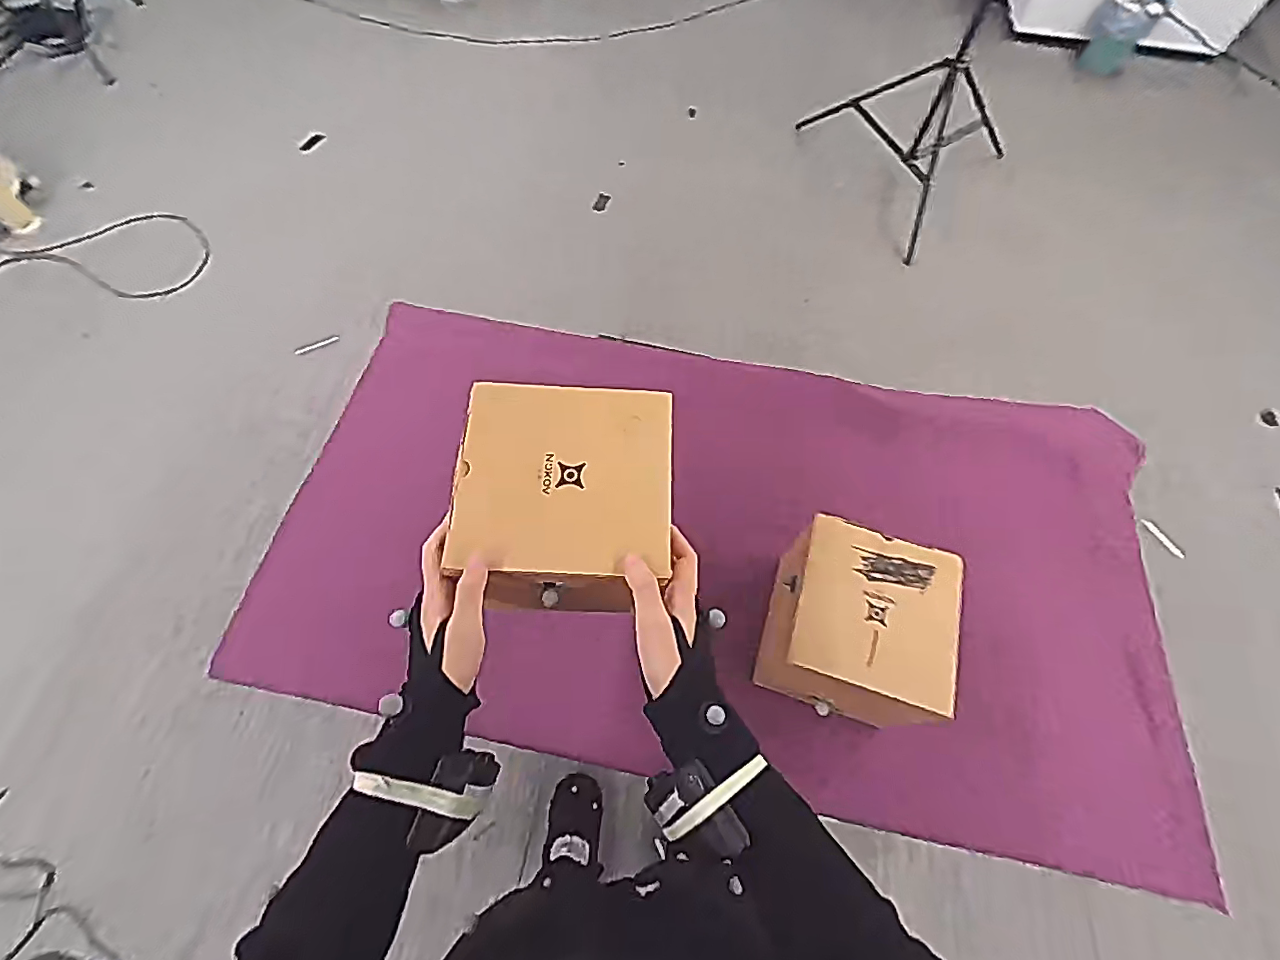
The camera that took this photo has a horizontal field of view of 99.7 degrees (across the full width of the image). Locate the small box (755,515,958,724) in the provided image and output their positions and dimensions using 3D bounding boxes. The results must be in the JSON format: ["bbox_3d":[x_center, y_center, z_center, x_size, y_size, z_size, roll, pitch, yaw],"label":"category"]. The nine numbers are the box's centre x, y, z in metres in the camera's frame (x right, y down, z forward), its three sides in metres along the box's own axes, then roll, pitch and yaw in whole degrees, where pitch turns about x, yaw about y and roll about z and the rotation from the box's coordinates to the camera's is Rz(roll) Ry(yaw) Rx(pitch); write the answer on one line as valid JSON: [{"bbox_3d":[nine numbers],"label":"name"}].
[{"bbox_3d":[0.247,0.172,0.645,0.168,0.176,0.179,18,64,8],"label":"small box"}]

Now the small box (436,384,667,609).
[{"bbox_3d":[-0.071,0.027,0.517,0.179,0.176,0.168,3,68,-2],"label":"small box"}]
